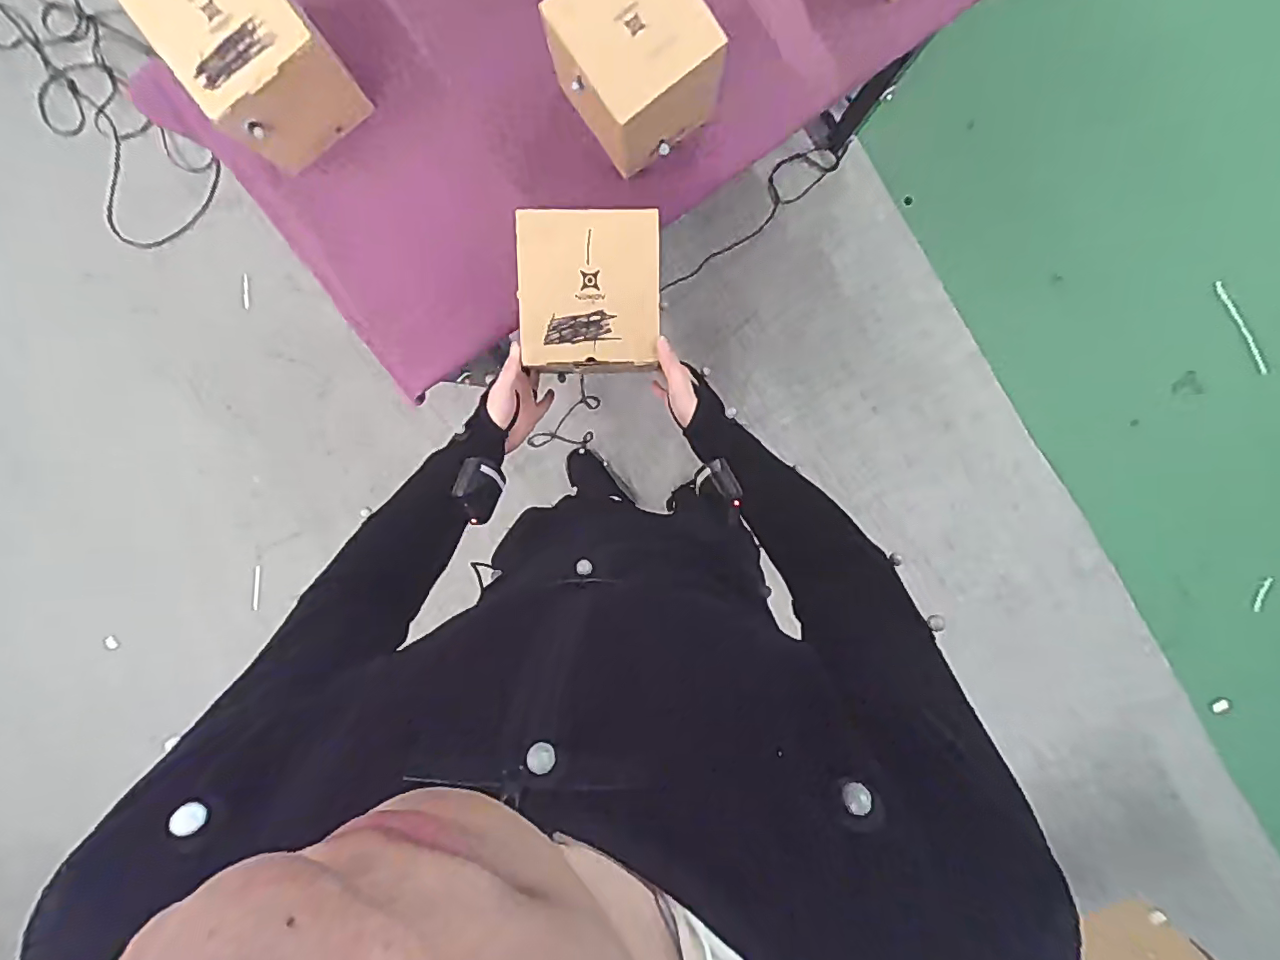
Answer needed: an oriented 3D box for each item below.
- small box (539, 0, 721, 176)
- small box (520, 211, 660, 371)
[{"bbox_3d":[-0.010,-0.569,0.746,0.168,0.176,0.179,-35,94,6],"label":"small box"},{"bbox_3d":[-0.059,-0.237,0.716,0.168,0.176,0.179,0,97,-1],"label":"small box"}]
